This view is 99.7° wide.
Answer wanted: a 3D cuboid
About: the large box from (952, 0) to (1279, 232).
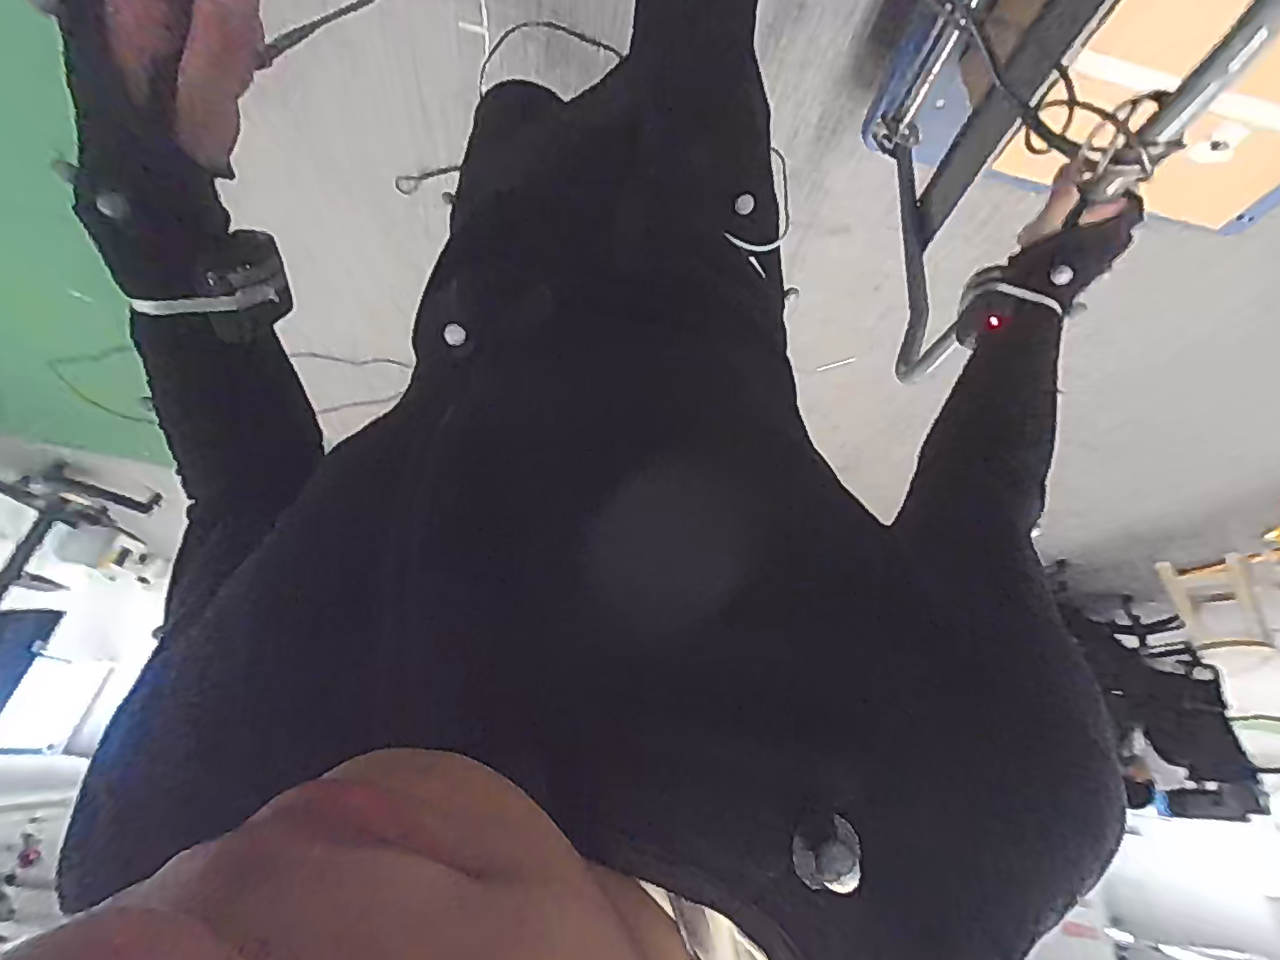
[{"bbox_3d":[0.769,-0.639,0.805,0.408,0.320,0.320,11,152,-7],"label":"large box"}]
